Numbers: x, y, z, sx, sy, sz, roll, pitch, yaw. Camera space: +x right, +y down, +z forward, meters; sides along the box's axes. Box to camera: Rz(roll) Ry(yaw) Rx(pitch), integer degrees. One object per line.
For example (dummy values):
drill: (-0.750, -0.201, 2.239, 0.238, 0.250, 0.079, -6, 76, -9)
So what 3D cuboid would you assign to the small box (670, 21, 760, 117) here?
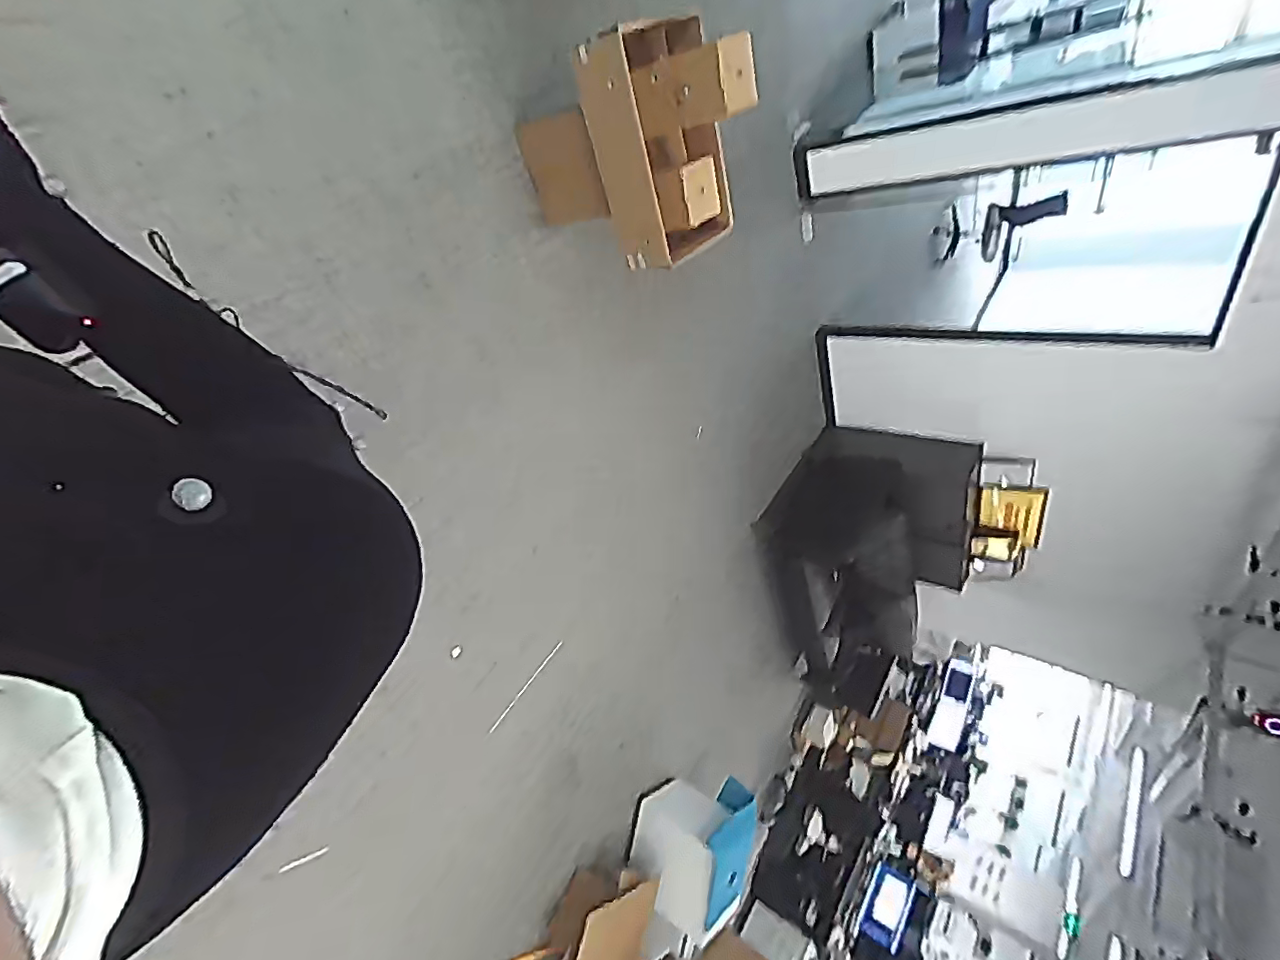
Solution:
small box: (0.207, -1.123, 1.481, 0.179, 0.176, 0.168, -44, 132, -33)

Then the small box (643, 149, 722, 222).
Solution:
small box: (0.135, -0.937, 1.724, 0.179, 0.176, 0.168, -42, 132, -33)
